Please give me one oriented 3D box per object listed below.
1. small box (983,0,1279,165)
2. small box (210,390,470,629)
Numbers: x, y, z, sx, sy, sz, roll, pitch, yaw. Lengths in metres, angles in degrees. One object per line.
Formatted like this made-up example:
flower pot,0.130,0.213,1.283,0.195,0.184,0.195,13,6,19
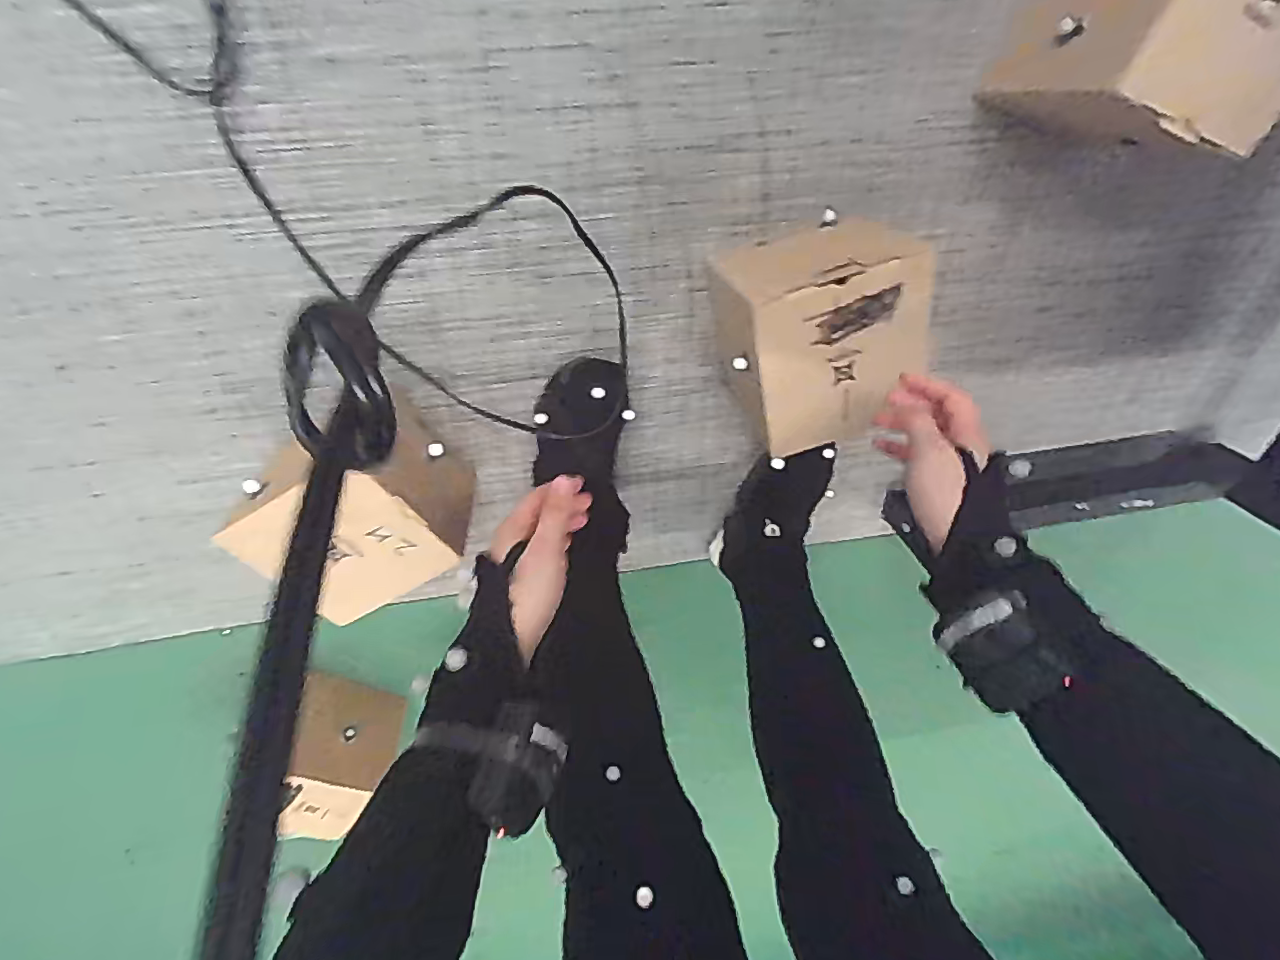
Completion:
small box,0.441,-0.396,0.461,0.168,0.176,0.179,9,121,-18
small box,-0.317,0.030,0.618,0.179,0.176,0.168,-28,125,9
